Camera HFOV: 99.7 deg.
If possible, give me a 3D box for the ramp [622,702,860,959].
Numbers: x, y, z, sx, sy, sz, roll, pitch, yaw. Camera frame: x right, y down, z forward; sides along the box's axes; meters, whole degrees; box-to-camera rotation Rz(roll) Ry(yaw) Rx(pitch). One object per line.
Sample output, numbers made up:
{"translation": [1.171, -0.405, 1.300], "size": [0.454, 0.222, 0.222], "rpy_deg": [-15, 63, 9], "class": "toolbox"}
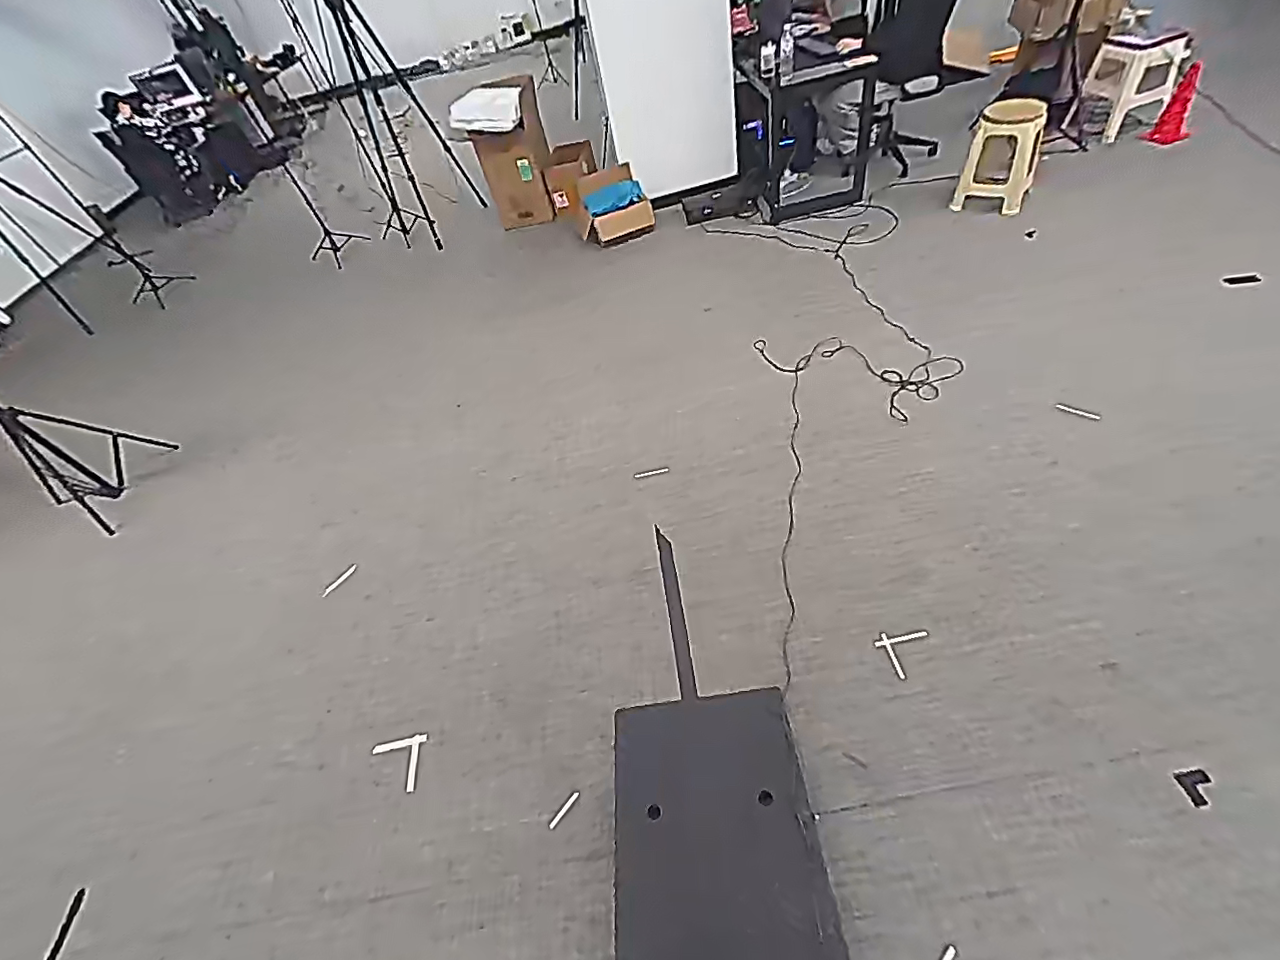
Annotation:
{"translation": [0.206, 0.983, 1.180], "size": [0.509, 0.206, 0.991], "rpy_deg": [-14, 45, 4], "class": "ramp"}
